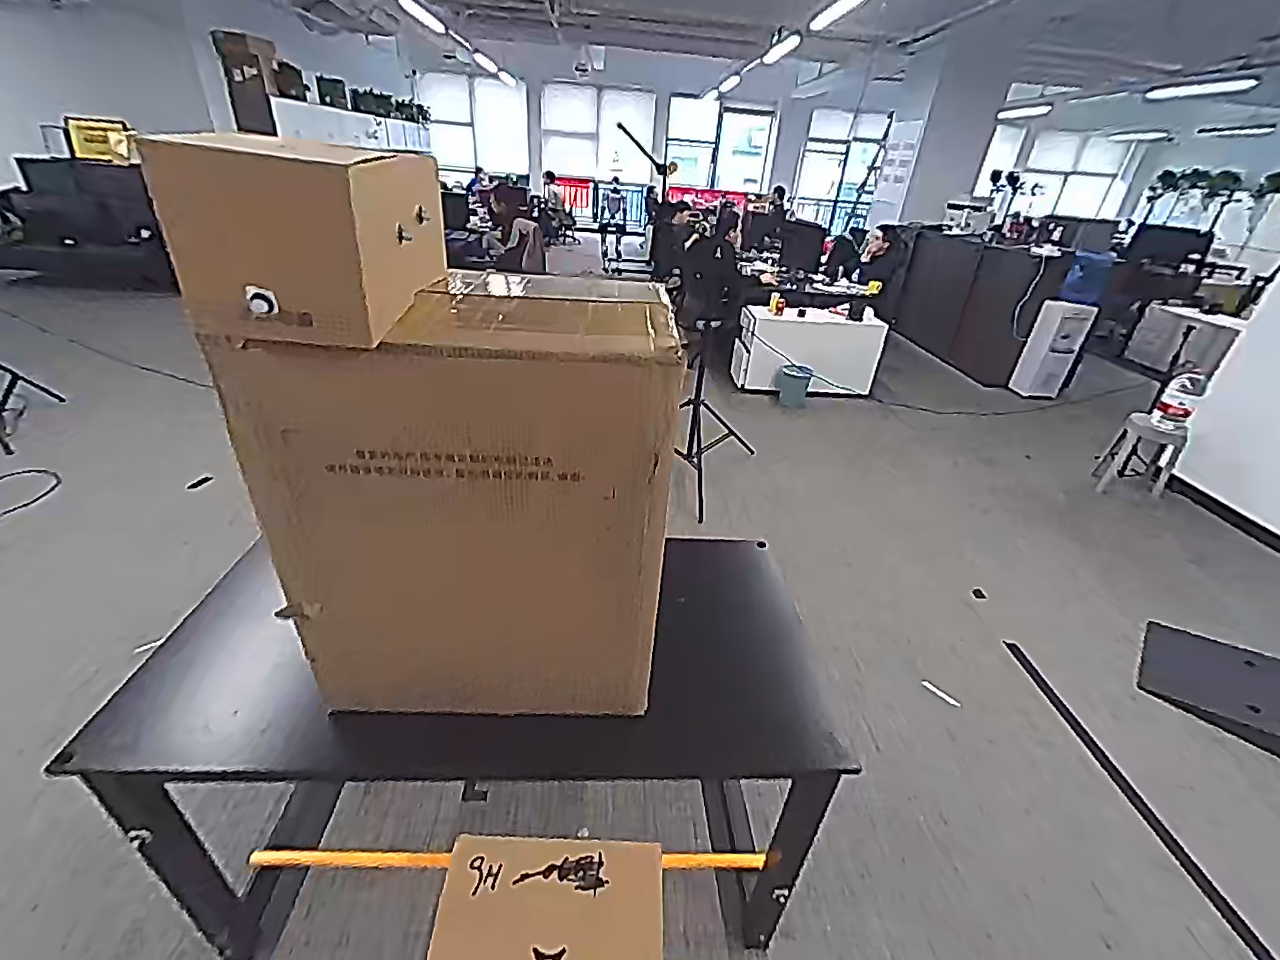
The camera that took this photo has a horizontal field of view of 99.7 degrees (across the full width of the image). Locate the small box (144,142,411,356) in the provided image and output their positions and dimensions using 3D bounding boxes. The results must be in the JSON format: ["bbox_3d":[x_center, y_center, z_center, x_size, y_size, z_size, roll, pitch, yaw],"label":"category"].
[{"bbox_3d":[-0.349,-0.244,0.568,0.168,0.176,0.179,1,34,-9],"label":"small box"}]

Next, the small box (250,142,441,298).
[{"bbox_3d":[-0.378,-0.345,0.730,0.168,0.176,0.179,4,30,-2],"label":"small box"}]
